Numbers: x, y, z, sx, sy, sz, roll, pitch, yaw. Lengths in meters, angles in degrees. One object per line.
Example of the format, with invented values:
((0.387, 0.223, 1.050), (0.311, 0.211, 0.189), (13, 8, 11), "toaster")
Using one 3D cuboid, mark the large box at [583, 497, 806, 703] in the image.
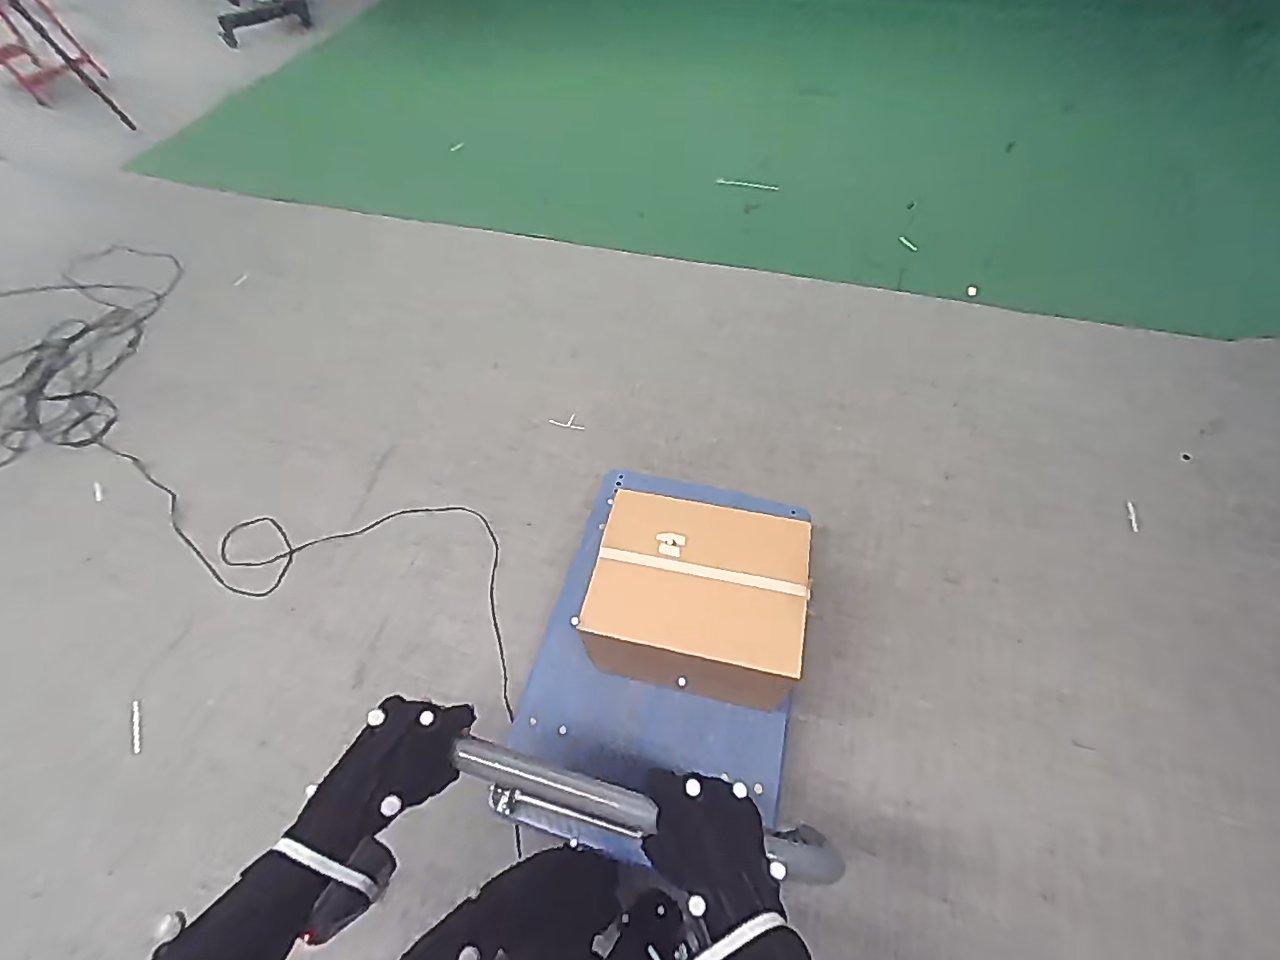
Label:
((0.127, 0.268, 1.177), (0.408, 0.320, 0.320), (8, 57, 10), "large box")
